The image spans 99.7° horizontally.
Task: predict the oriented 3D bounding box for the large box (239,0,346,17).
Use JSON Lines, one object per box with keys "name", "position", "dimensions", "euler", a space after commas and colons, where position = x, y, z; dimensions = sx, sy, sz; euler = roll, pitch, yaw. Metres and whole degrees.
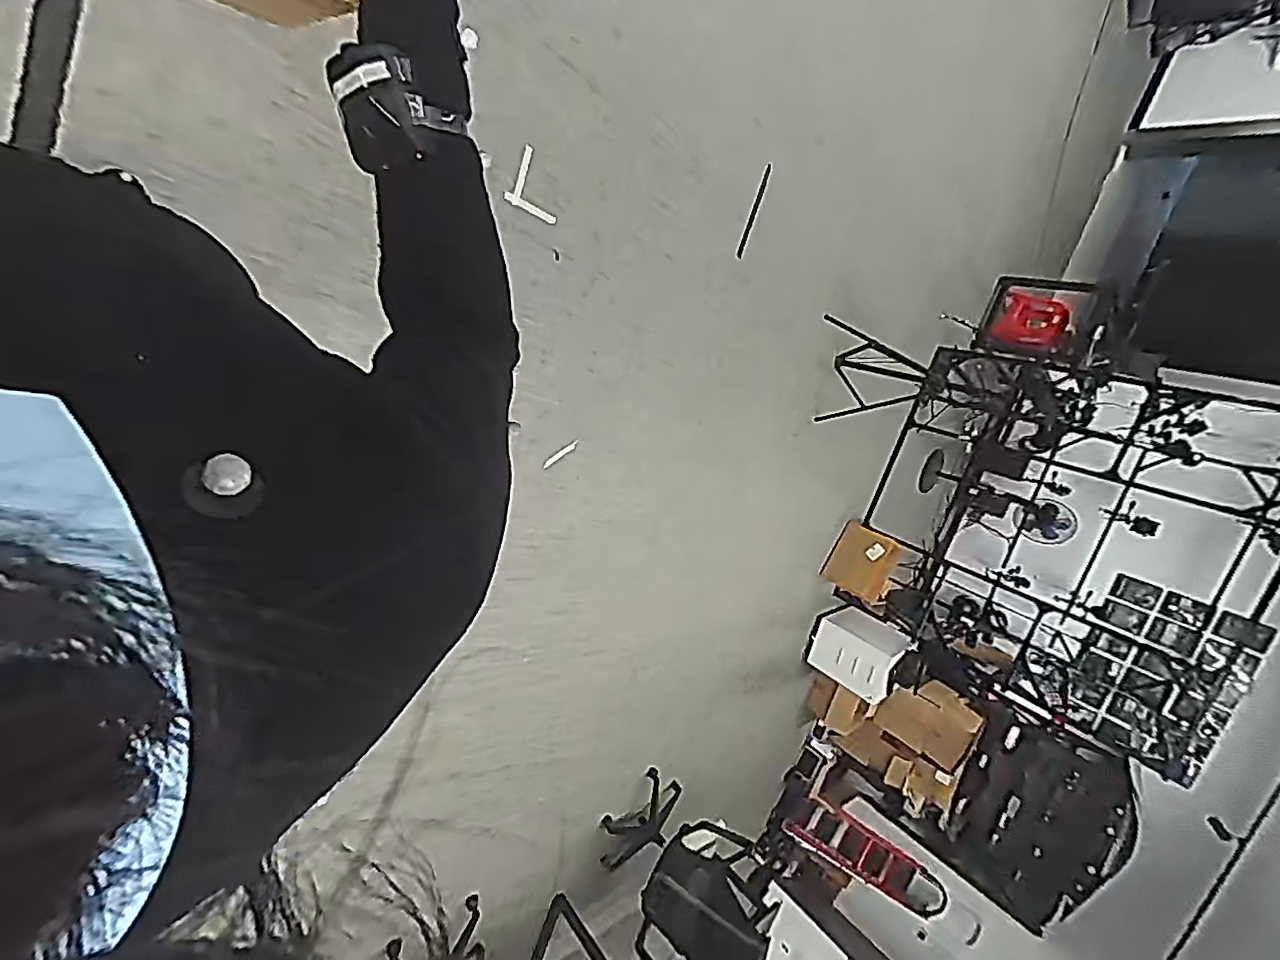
{"name": "large box", "position": [-0.385, -0.519, 0.277], "dimensions": [0.408, 0.320, 0.320], "euler": [-3, 121, -40]}
